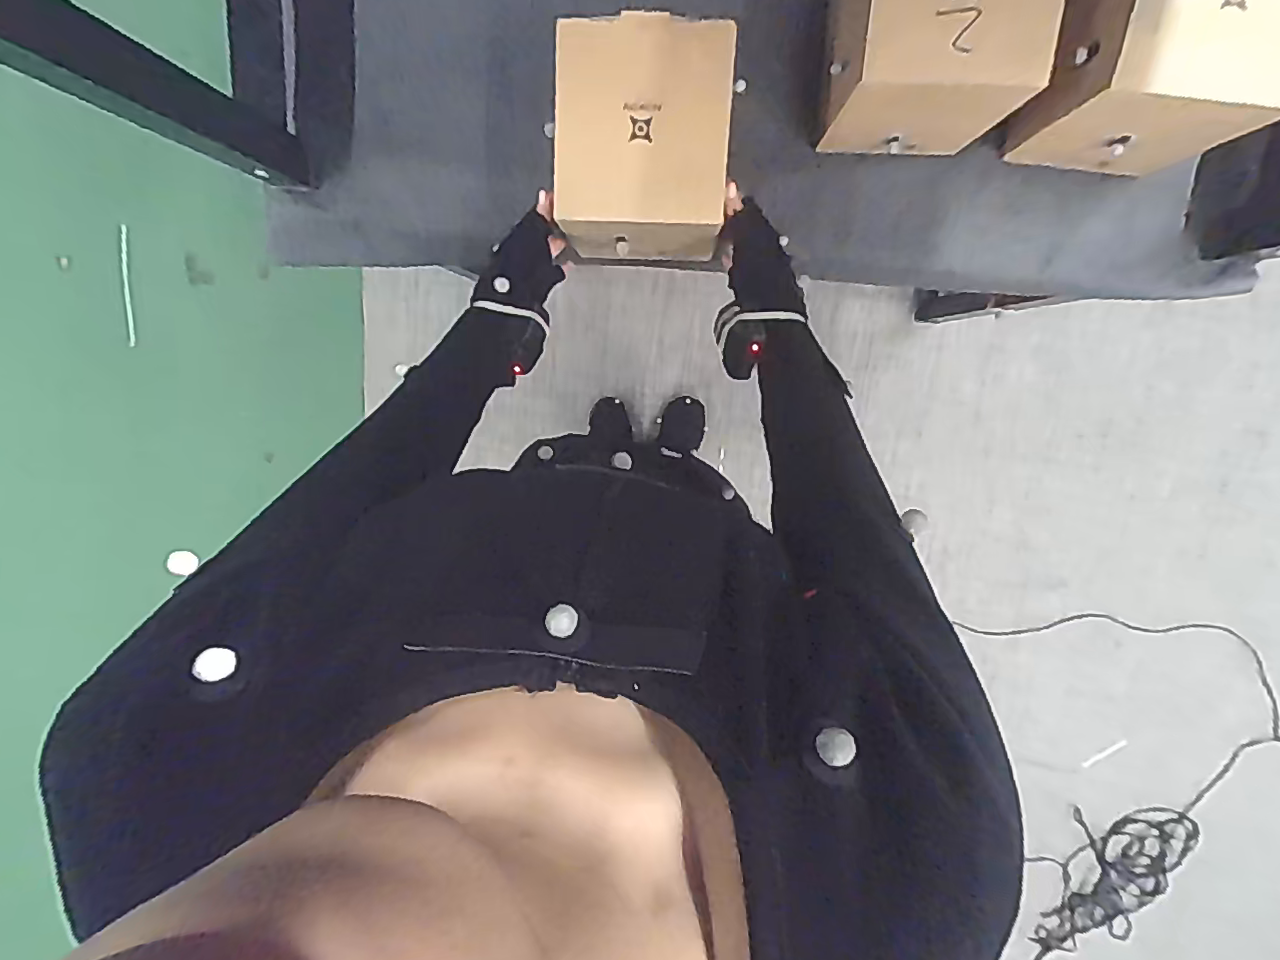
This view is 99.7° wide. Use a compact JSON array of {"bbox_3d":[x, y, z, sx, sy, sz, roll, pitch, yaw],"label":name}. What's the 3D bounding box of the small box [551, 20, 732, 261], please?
[{"bbox_3d":[0.003,-0.345,0.585,0.168,0.176,0.179,3,99,3],"label":"small box"}]
